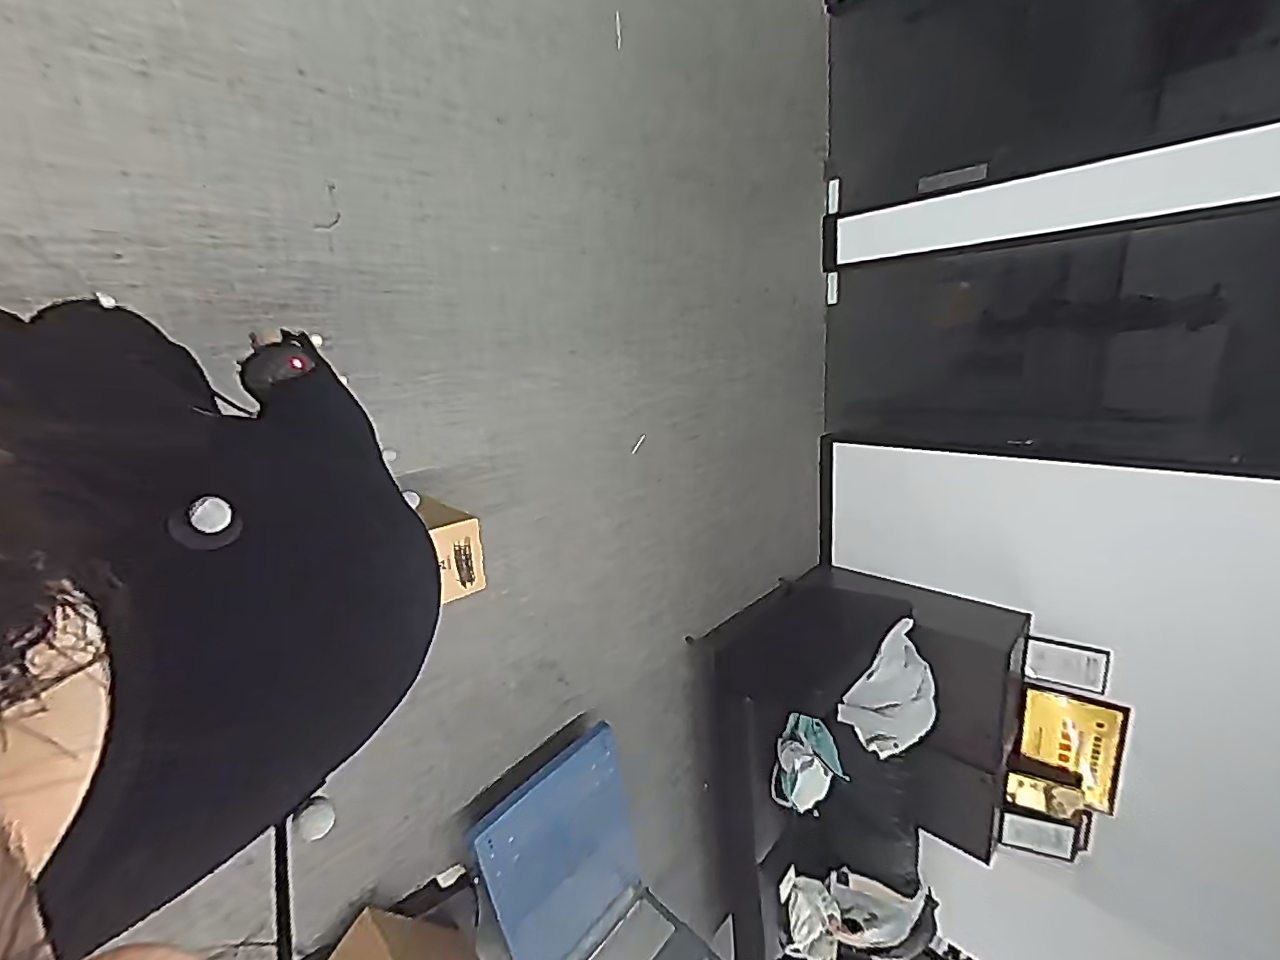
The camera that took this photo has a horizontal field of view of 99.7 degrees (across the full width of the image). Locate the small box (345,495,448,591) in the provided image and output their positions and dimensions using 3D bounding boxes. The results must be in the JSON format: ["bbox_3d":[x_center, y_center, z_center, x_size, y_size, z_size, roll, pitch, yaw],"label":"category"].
[{"bbox_3d":[-0.584,0.140,1.294,0.168,0.176,0.179,-16,110,-42],"label":"small box"}]
